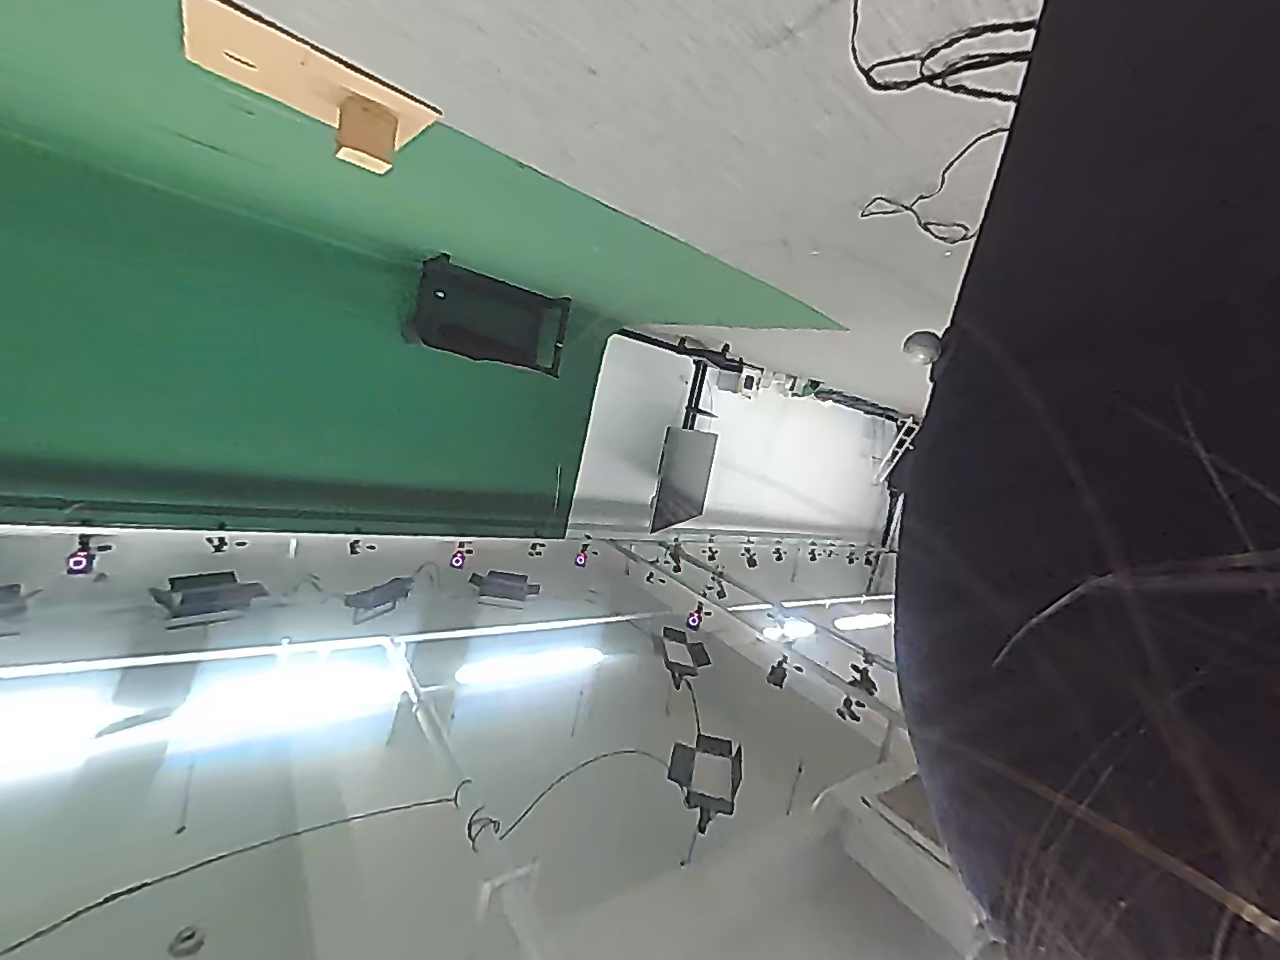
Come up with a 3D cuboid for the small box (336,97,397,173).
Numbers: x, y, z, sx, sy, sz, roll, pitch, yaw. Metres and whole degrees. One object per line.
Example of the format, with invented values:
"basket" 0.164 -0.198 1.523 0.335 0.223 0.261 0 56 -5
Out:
"small box" -1.014 -1.276 2.005 0.168 0.176 0.179 4 -169 -39
